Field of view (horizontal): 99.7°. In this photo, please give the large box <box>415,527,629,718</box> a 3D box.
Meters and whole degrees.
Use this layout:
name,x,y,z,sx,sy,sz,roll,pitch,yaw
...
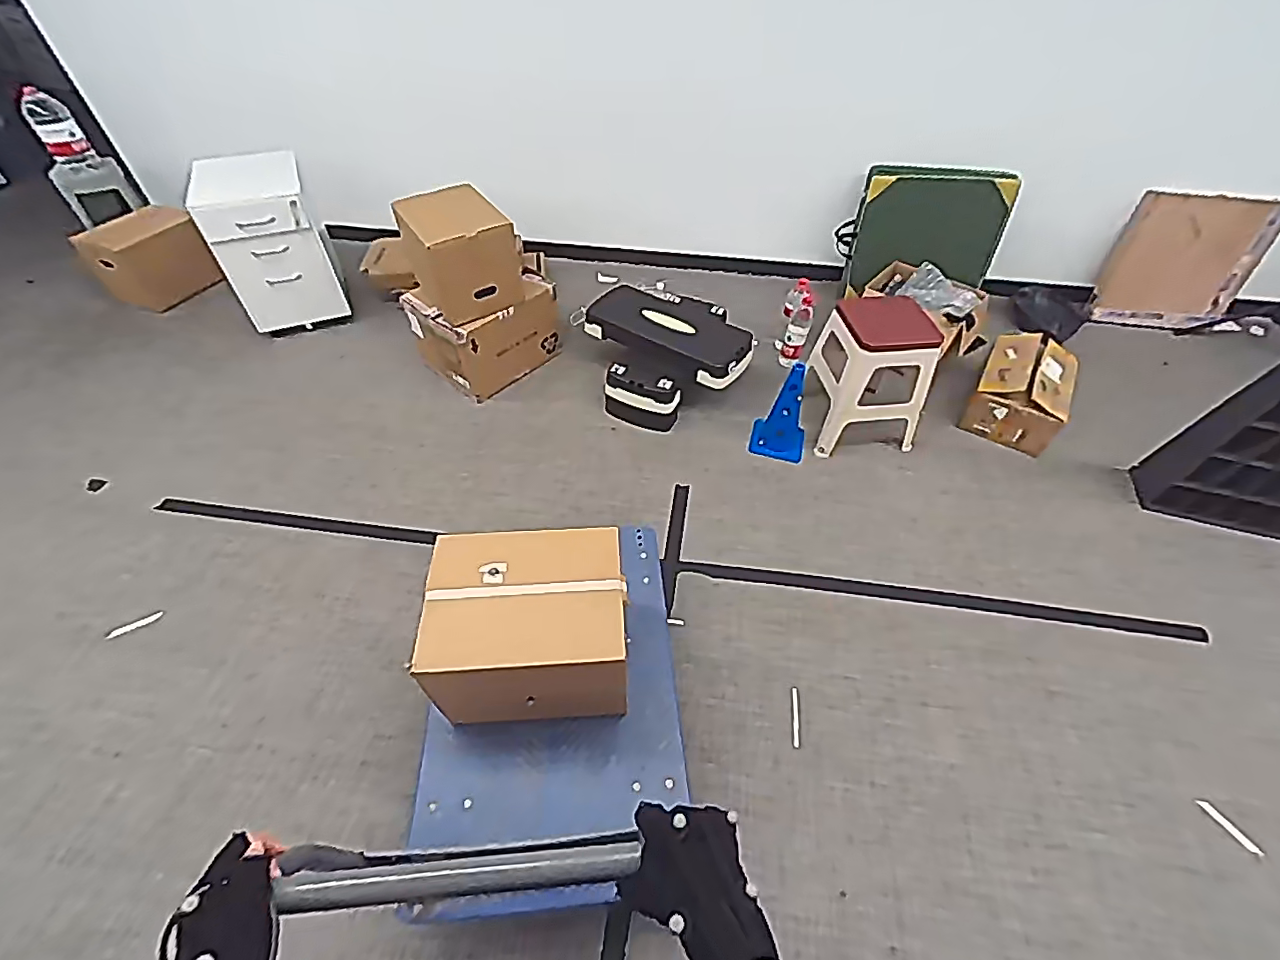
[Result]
name,x,y,z,sx,sy,sz,roll,pitch,yaw
large box,-0.236,0.329,1.229,0.408,0.320,0.320,-3,49,-3
